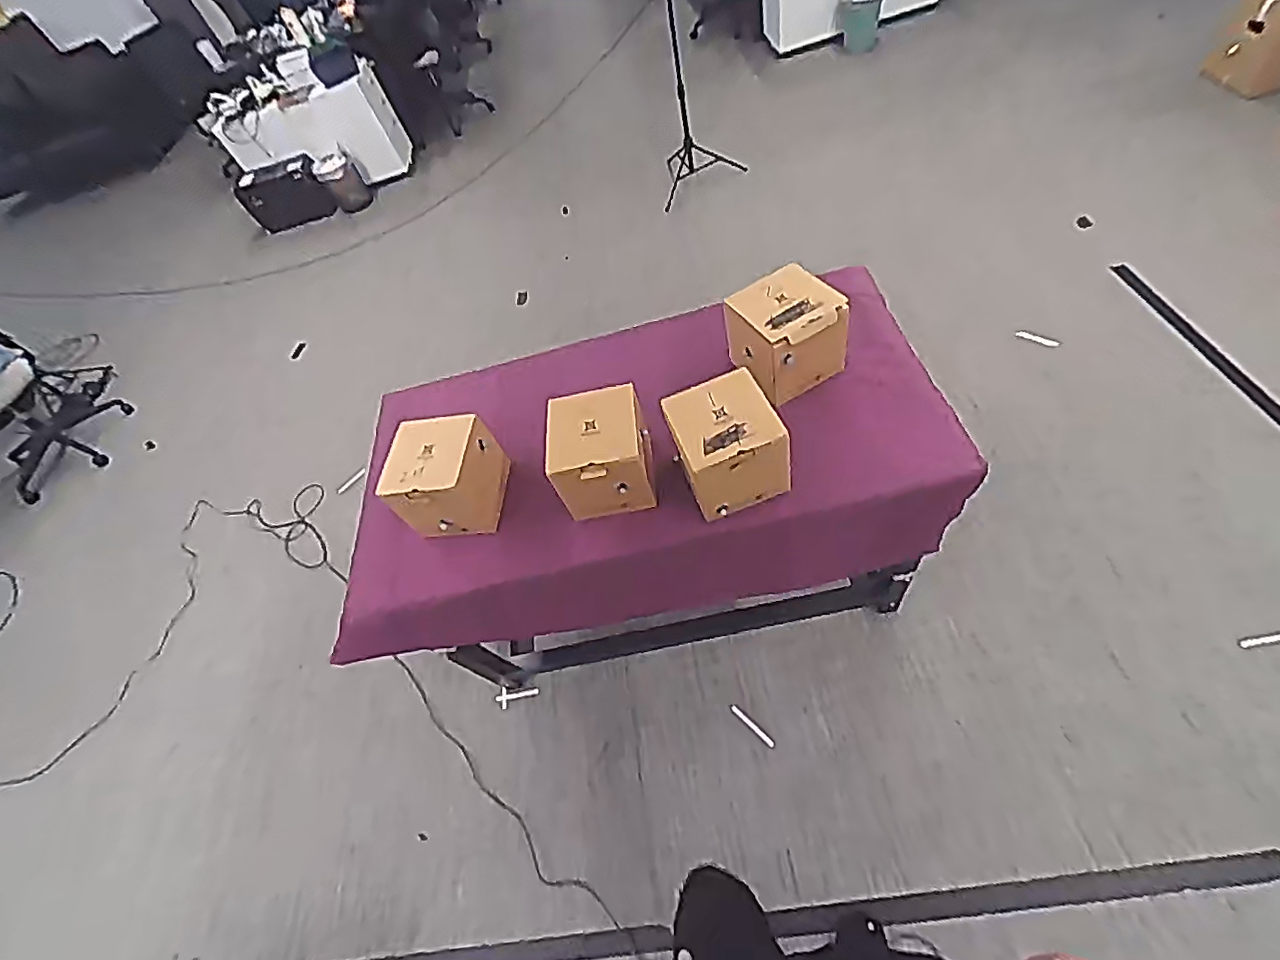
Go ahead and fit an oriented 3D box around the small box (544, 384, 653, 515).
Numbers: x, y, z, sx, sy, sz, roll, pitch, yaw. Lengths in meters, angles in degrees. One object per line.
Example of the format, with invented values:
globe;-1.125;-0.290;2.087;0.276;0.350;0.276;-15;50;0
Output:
small box;-0.073;-0.048;1.022;0.168;0.176;0.179;-10;55;8

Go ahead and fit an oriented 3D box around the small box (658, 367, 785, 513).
small box;0.150;-0.061;0.967;0.168;0.176;0.179;-22;53;1

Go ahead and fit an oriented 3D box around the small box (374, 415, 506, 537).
small box;-0.383;-0.003;1.074;0.168;0.176;0.179;-5;57;12
